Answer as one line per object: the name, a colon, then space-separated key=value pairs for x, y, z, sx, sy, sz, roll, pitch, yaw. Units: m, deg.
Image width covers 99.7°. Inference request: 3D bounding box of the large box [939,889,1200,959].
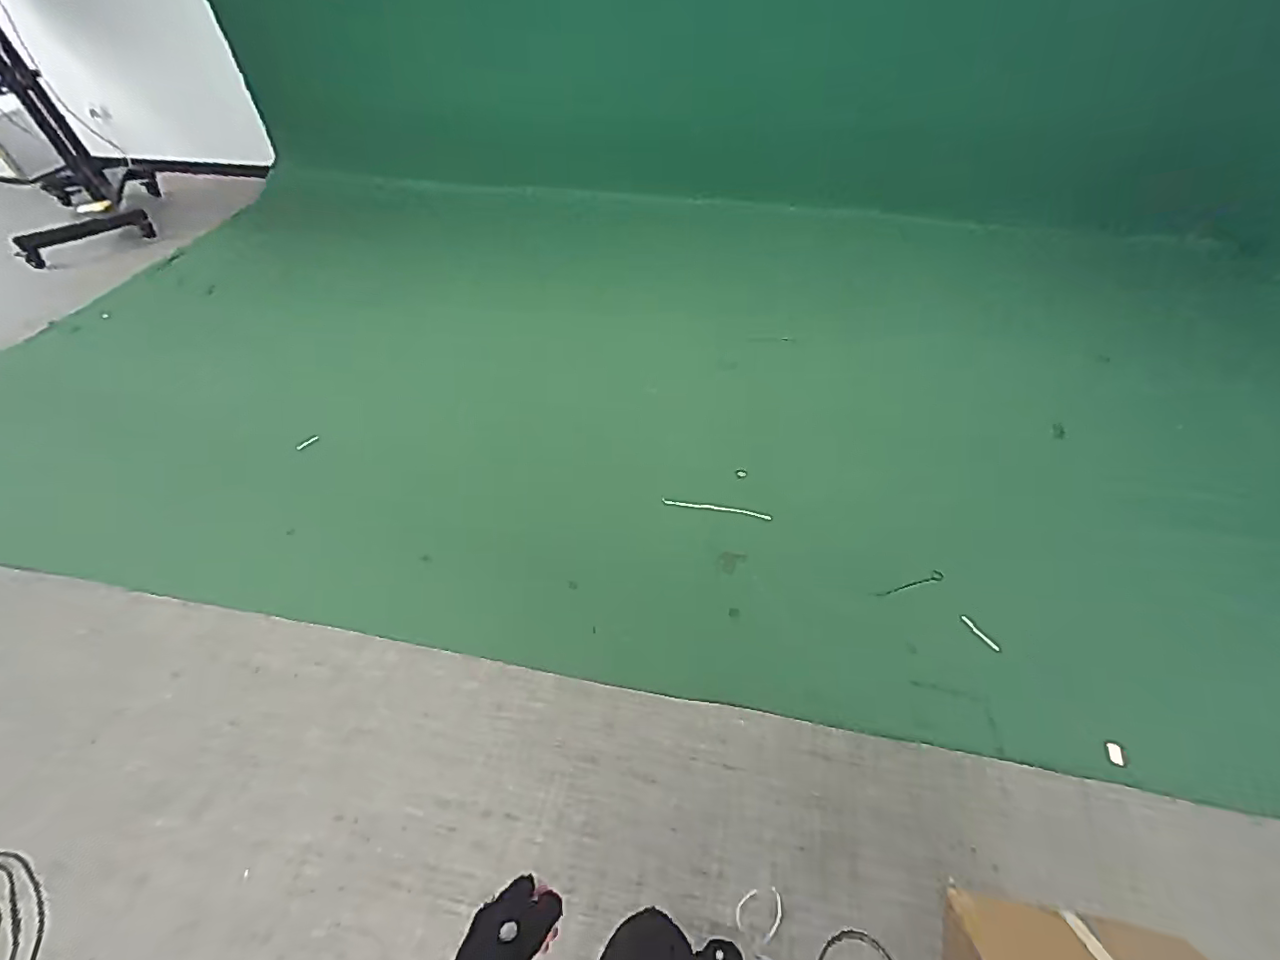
large box: x=0.553 y=0.763 z=0.584 sx=0.320 sy=0.408 sz=0.320 roll=6 pitch=87 yaw=12
